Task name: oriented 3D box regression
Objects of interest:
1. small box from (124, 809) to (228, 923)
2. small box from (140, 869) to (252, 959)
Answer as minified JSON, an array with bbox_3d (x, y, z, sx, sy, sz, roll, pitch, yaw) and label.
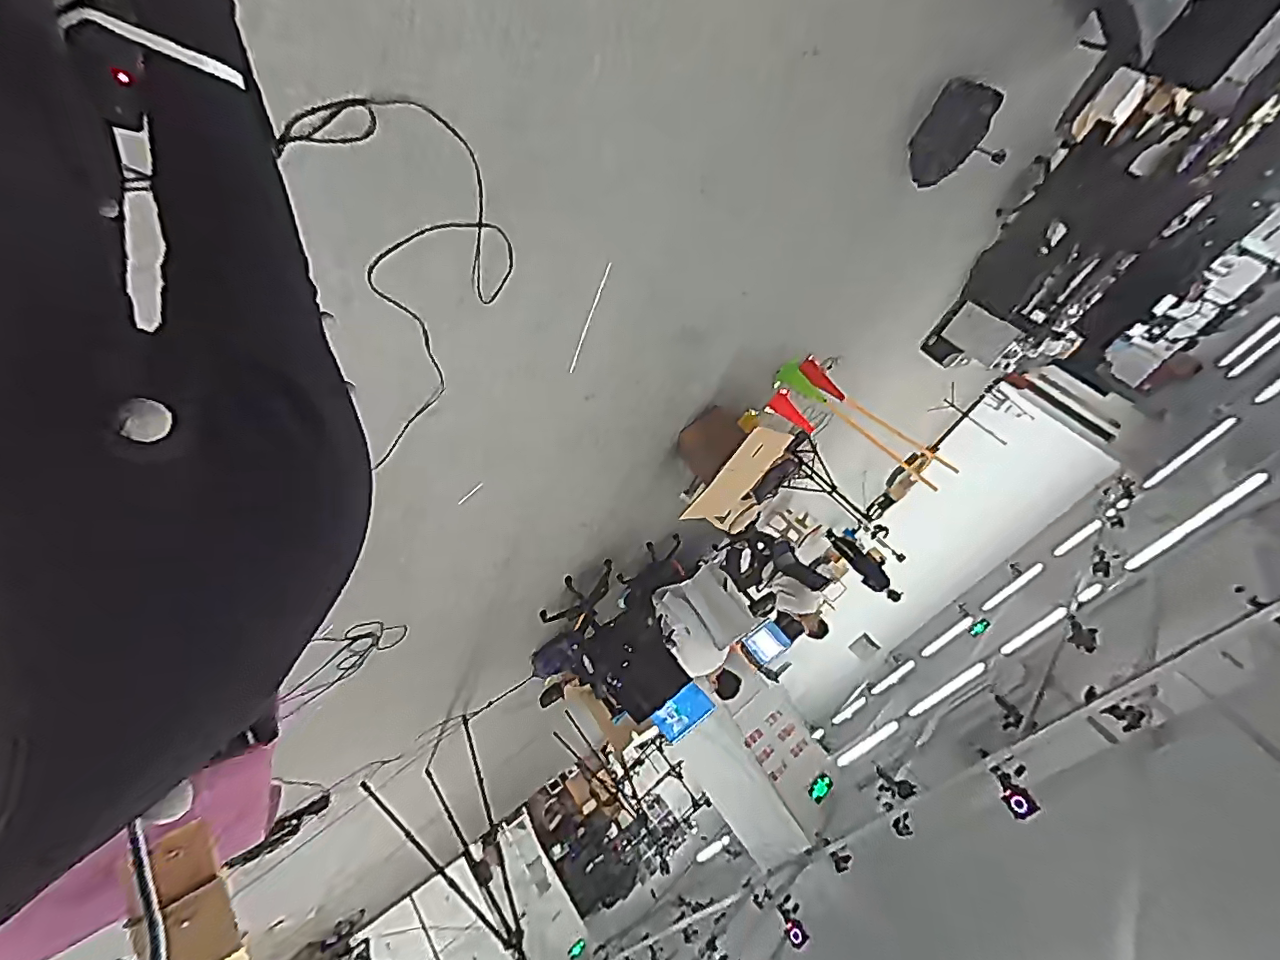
[{"bbox_3d":[-1.136,0.957,1.335,0.168,0.176,0.179,-18,146,-42],"label":"small box"},{"bbox_3d":[-1.025,1.052,1.255,0.168,0.176,0.179,-17,145,-44],"label":"small box"}]
